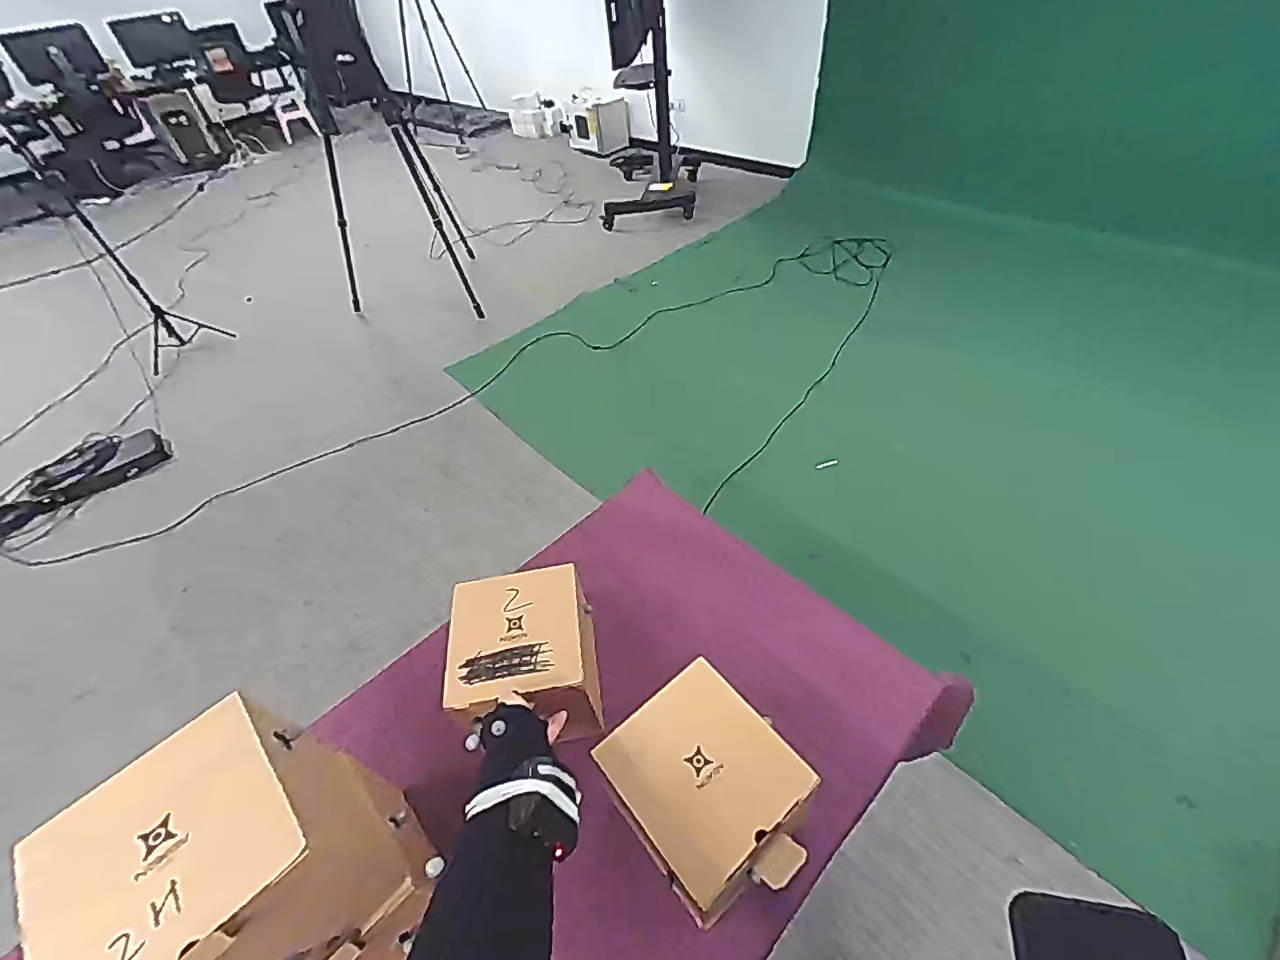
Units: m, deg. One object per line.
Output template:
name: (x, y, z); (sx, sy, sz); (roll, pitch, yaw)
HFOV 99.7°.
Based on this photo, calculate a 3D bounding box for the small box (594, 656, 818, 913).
small box: (0.071, 0.346, 0.616); (0.168, 0.176, 0.179); (-34, 52, -22)

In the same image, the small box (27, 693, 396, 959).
small box: (-0.348, 0.330, 0.462); (0.168, 0.176, 0.179); (-38, 53, -26)

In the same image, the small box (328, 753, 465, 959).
small box: (-0.318, 0.441, 0.580); (0.168, 0.176, 0.179); (-38, 53, -26)
